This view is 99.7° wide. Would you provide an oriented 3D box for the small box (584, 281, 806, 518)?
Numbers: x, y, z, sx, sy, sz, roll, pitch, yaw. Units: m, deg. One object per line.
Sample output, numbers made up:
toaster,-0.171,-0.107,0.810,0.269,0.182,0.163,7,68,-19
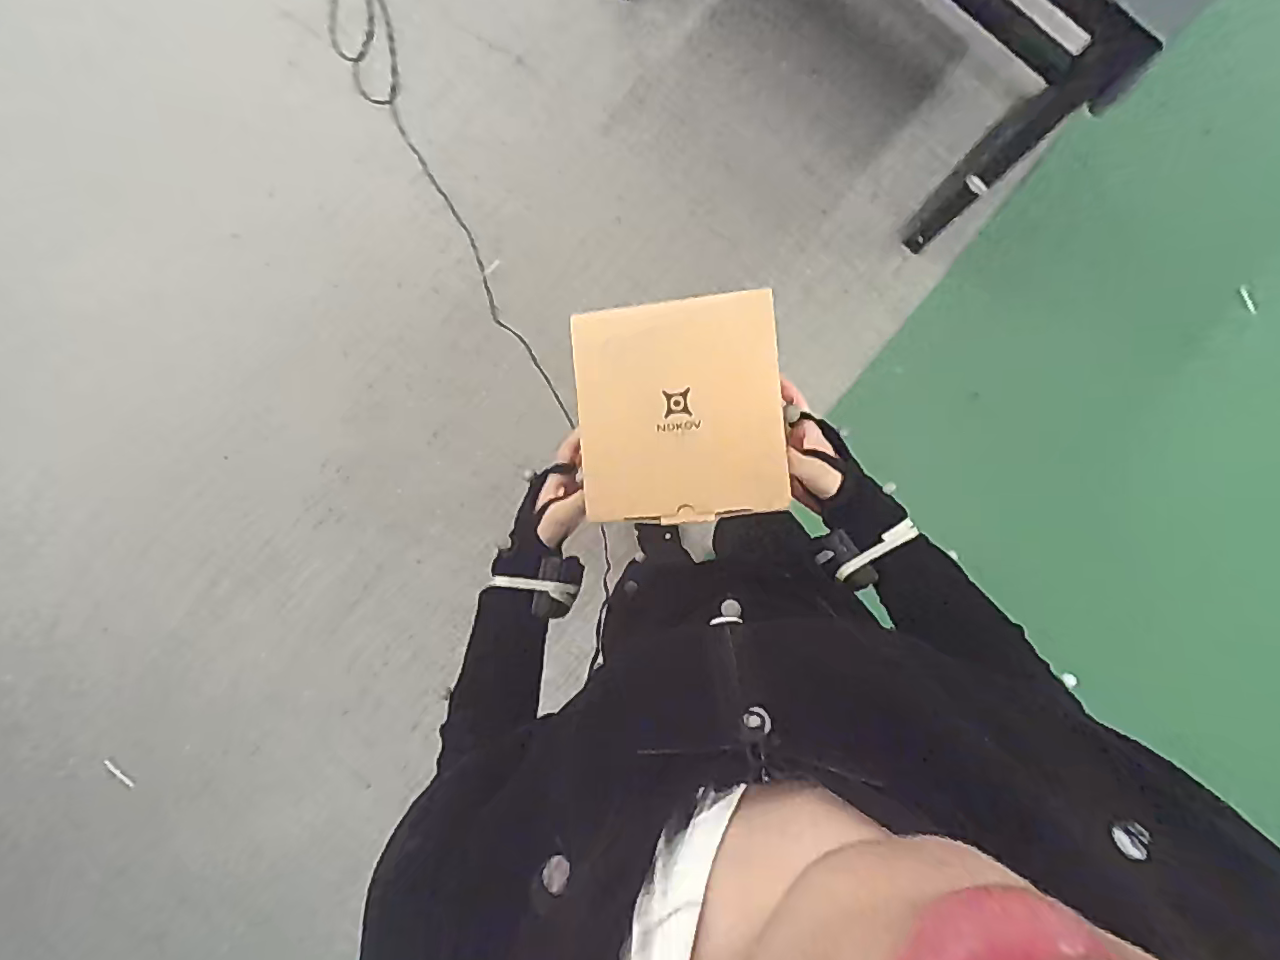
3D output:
small box,0.048,-0.061,0.499,0.168,0.176,0.179,-5,90,6
